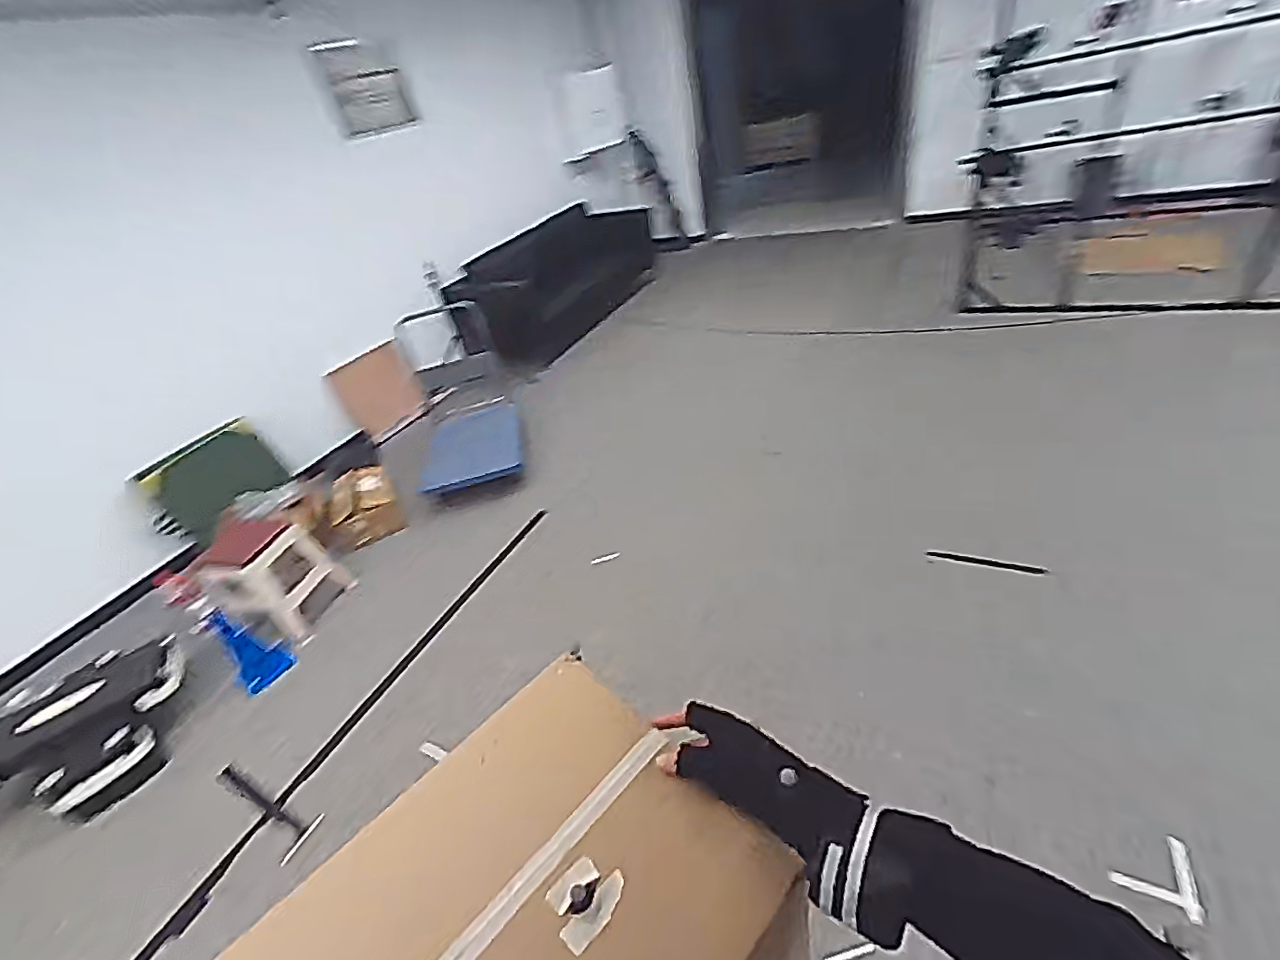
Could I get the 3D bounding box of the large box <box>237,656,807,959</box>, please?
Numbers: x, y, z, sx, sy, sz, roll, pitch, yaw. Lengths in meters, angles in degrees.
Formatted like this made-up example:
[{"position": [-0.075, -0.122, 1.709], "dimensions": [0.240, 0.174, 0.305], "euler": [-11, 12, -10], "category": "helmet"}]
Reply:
[{"position": [-0.081, 0.475, 0.527], "dimensions": [0.408, 0.320, 0.320], "euler": [-36, 42, -28], "category": "large box"}]
